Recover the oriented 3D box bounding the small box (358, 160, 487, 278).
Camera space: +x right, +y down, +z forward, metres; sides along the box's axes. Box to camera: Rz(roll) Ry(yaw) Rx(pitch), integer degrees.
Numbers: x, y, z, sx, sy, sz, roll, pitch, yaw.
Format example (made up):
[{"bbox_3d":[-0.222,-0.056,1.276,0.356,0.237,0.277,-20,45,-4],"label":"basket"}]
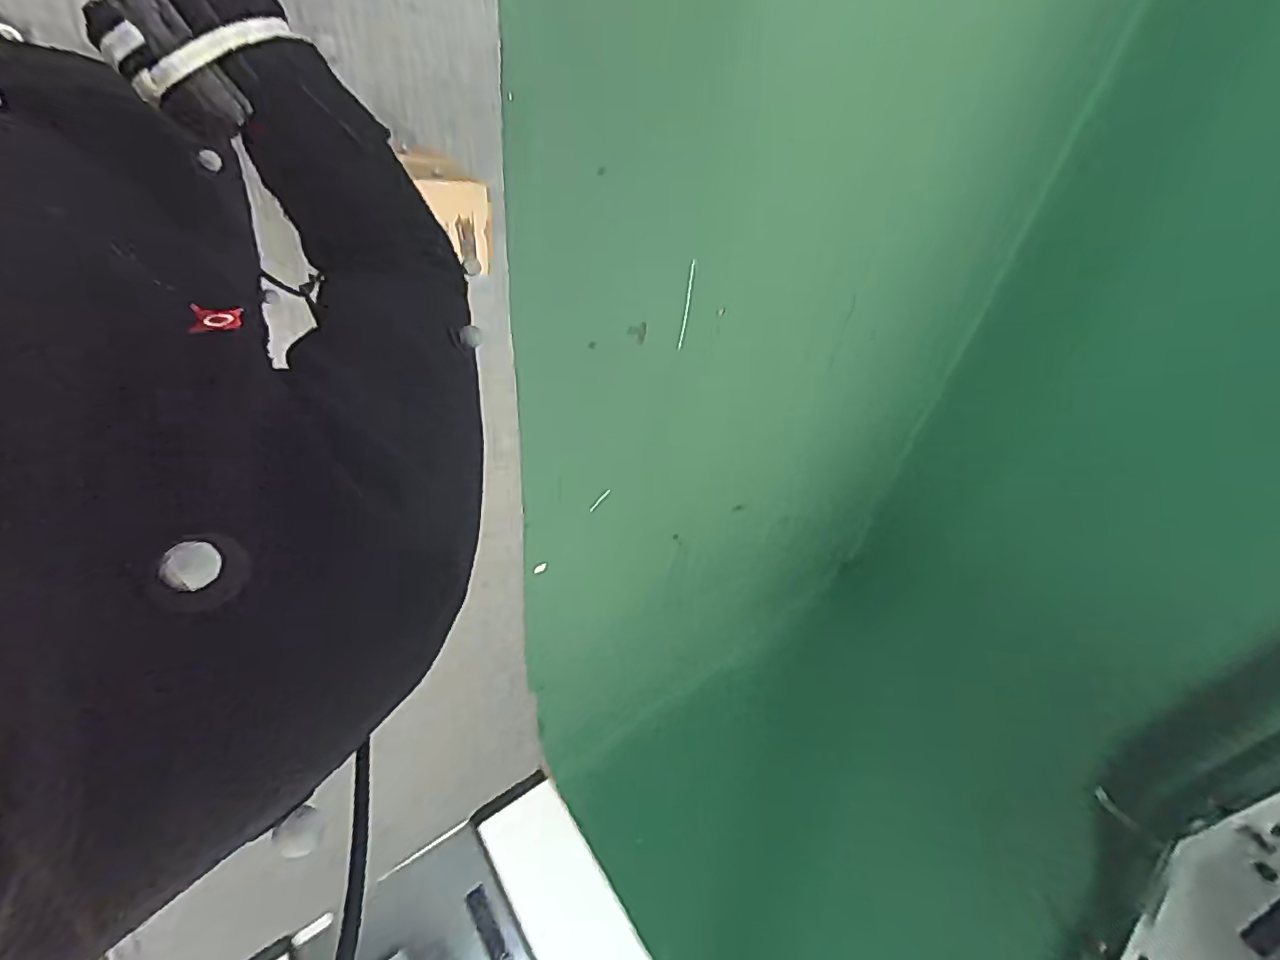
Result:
[{"bbox_3d":[-0.404,-0.490,1.015,0.179,0.176,0.168,-17,133,-33],"label":"small box"}]
